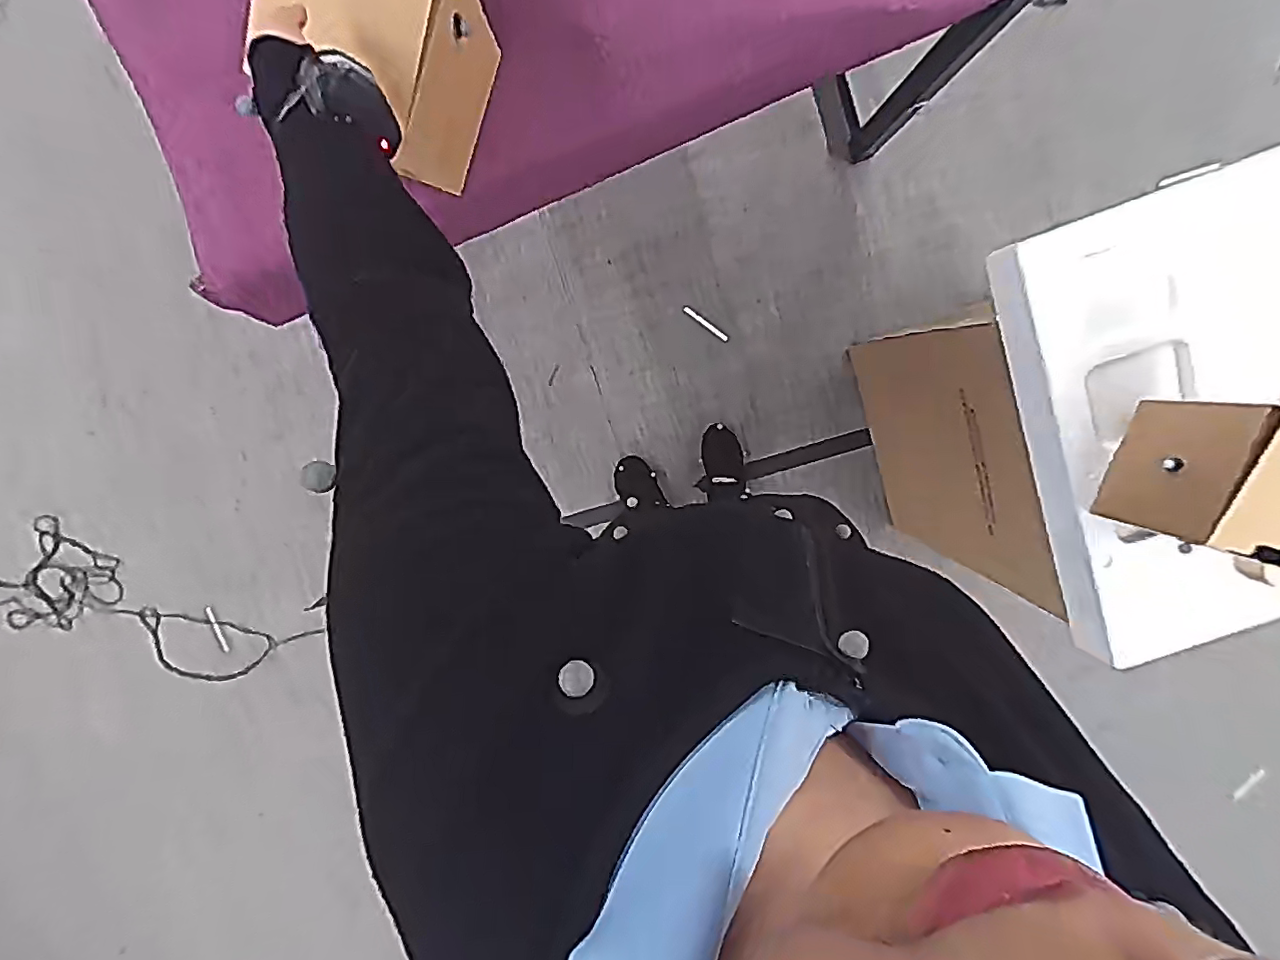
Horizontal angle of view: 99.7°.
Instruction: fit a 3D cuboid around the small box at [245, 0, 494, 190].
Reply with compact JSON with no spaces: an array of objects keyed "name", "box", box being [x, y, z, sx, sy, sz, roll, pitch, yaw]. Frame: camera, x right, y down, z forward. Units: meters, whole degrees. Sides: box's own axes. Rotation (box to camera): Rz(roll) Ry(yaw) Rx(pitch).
[{"name":"small box","box":[-0.275,-0.459,0.591,0.168,0.176,0.179,20,98,-2]}]
